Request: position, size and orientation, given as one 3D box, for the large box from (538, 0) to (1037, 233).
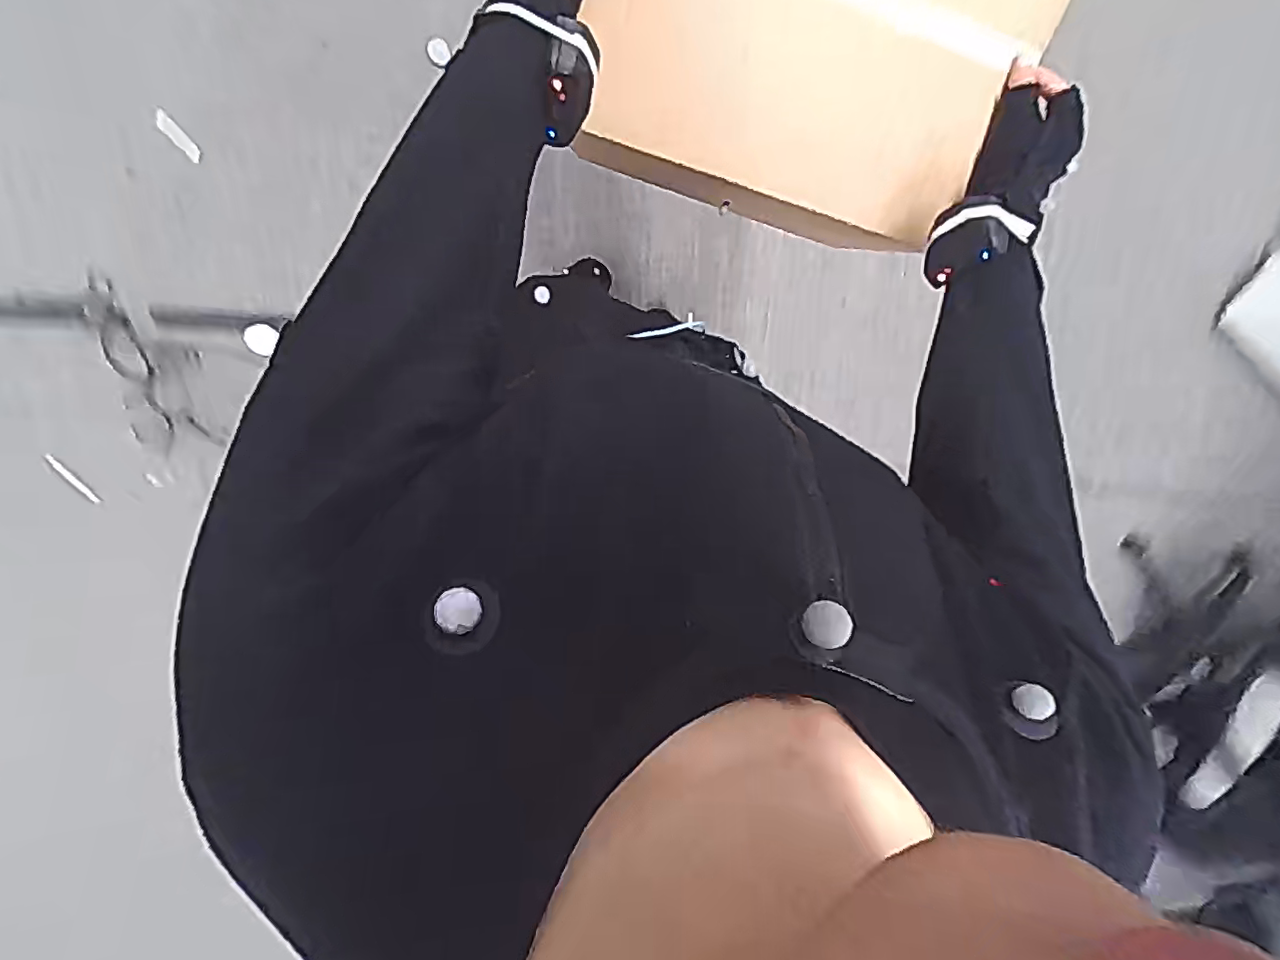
[{"bbox_3d":[0.138,-0.484,0.587,0.408,0.320,0.320,14,113,-6],"label":"large box"}]
